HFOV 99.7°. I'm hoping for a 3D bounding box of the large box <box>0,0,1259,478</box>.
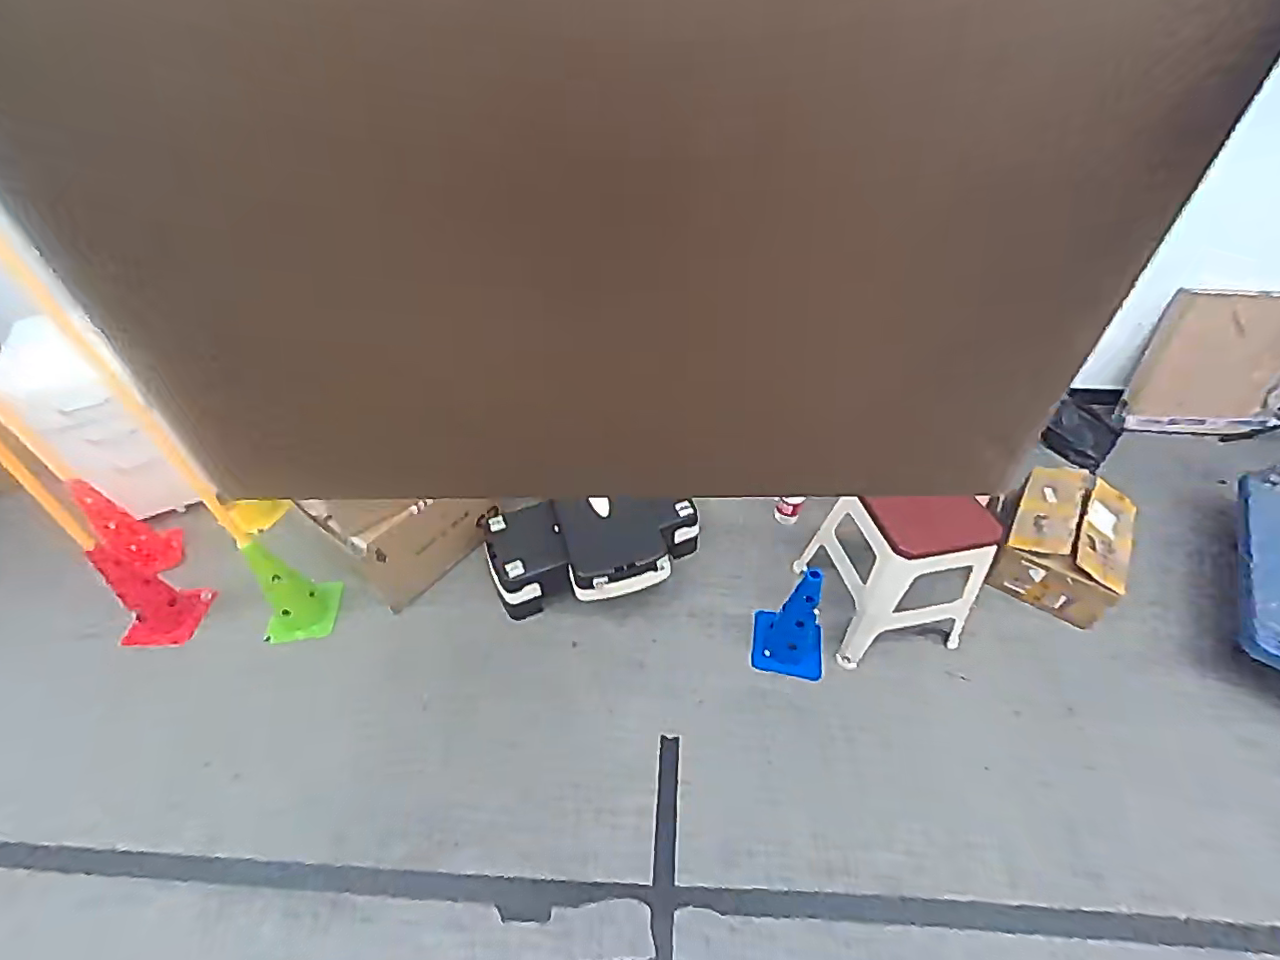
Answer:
[{"bbox_3d":[-0.015,-0.213,0.291,0.408,0.320,0.320,0,43,-1],"label":"large box"}]
